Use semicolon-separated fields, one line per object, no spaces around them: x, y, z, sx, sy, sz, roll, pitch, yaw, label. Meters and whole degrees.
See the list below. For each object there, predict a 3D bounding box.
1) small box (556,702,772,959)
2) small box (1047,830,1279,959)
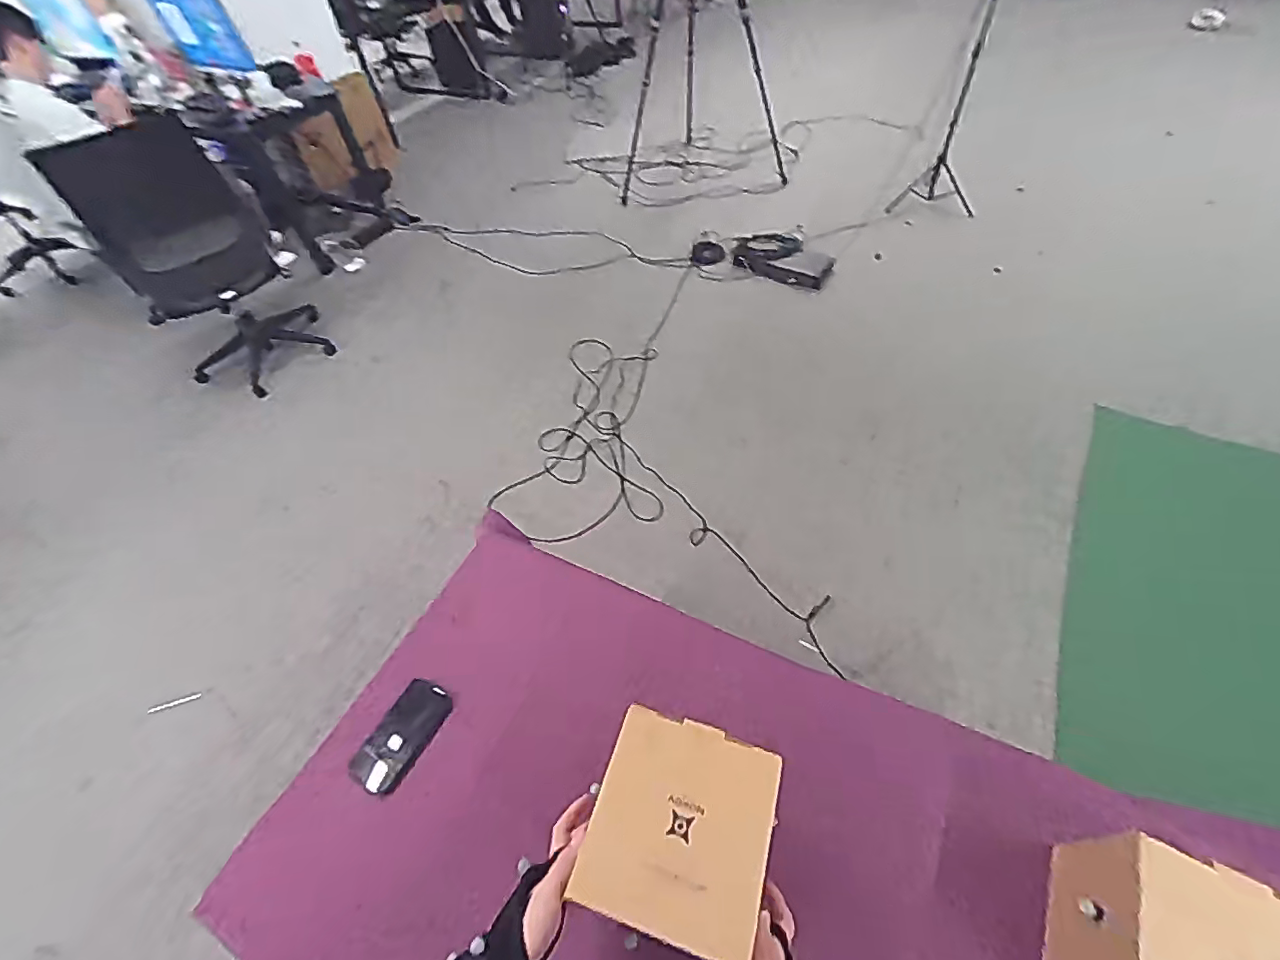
0.028;0.368;0.564;0.168;0.176;0.179;14;52;12;small box
0.518;0.474;0.510;0.168;0.176;0.179;20;56;22;small box
